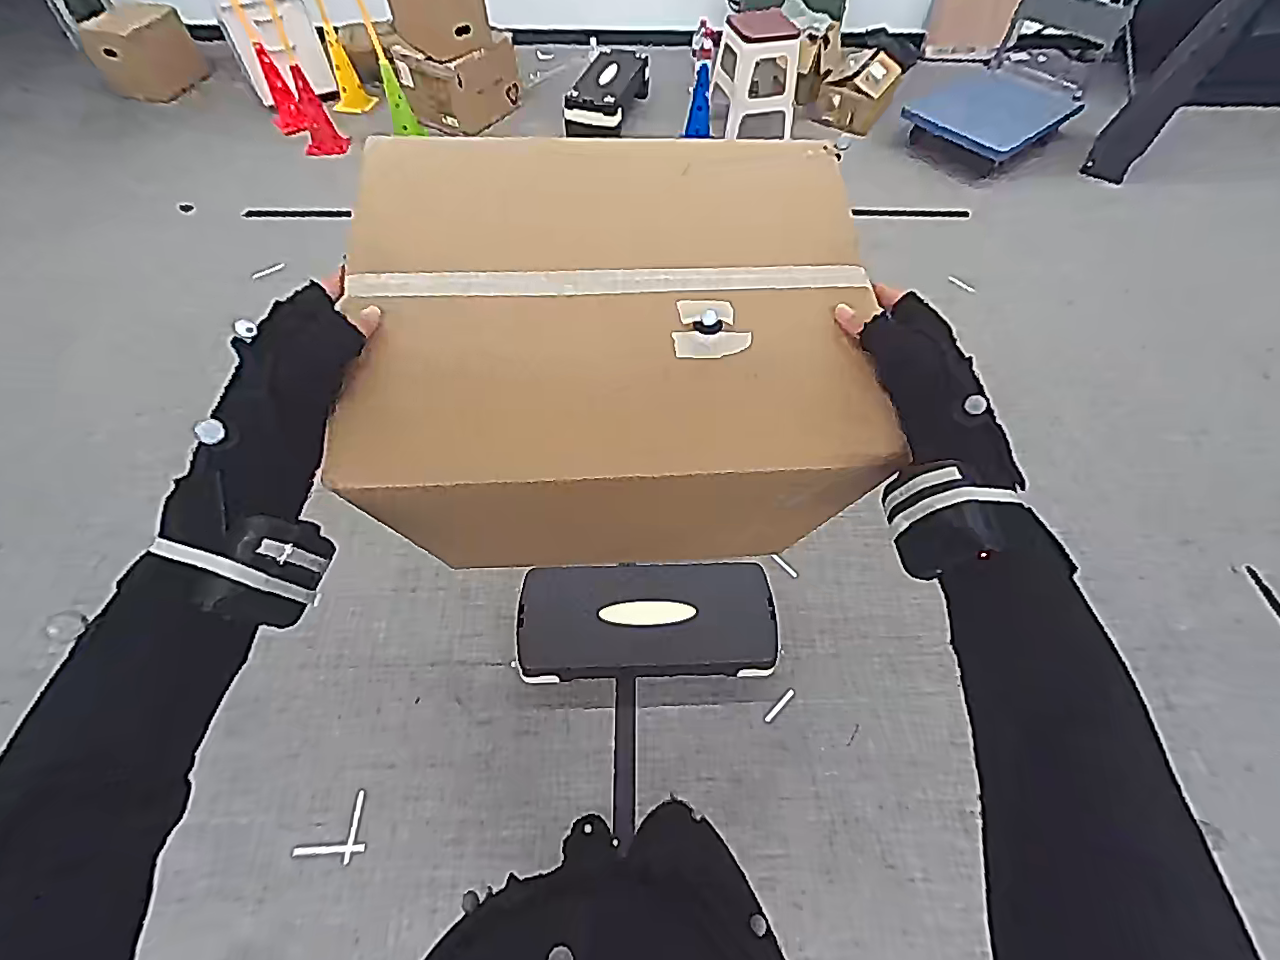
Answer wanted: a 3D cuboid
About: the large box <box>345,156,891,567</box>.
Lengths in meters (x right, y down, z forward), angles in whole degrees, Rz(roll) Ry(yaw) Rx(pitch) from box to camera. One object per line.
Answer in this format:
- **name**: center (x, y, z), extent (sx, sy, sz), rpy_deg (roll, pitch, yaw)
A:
- **large box**: center (-0.028, -0.098, 0.576), extent (0.408, 0.320, 0.320), rpy_deg (-2, 71, -4)
